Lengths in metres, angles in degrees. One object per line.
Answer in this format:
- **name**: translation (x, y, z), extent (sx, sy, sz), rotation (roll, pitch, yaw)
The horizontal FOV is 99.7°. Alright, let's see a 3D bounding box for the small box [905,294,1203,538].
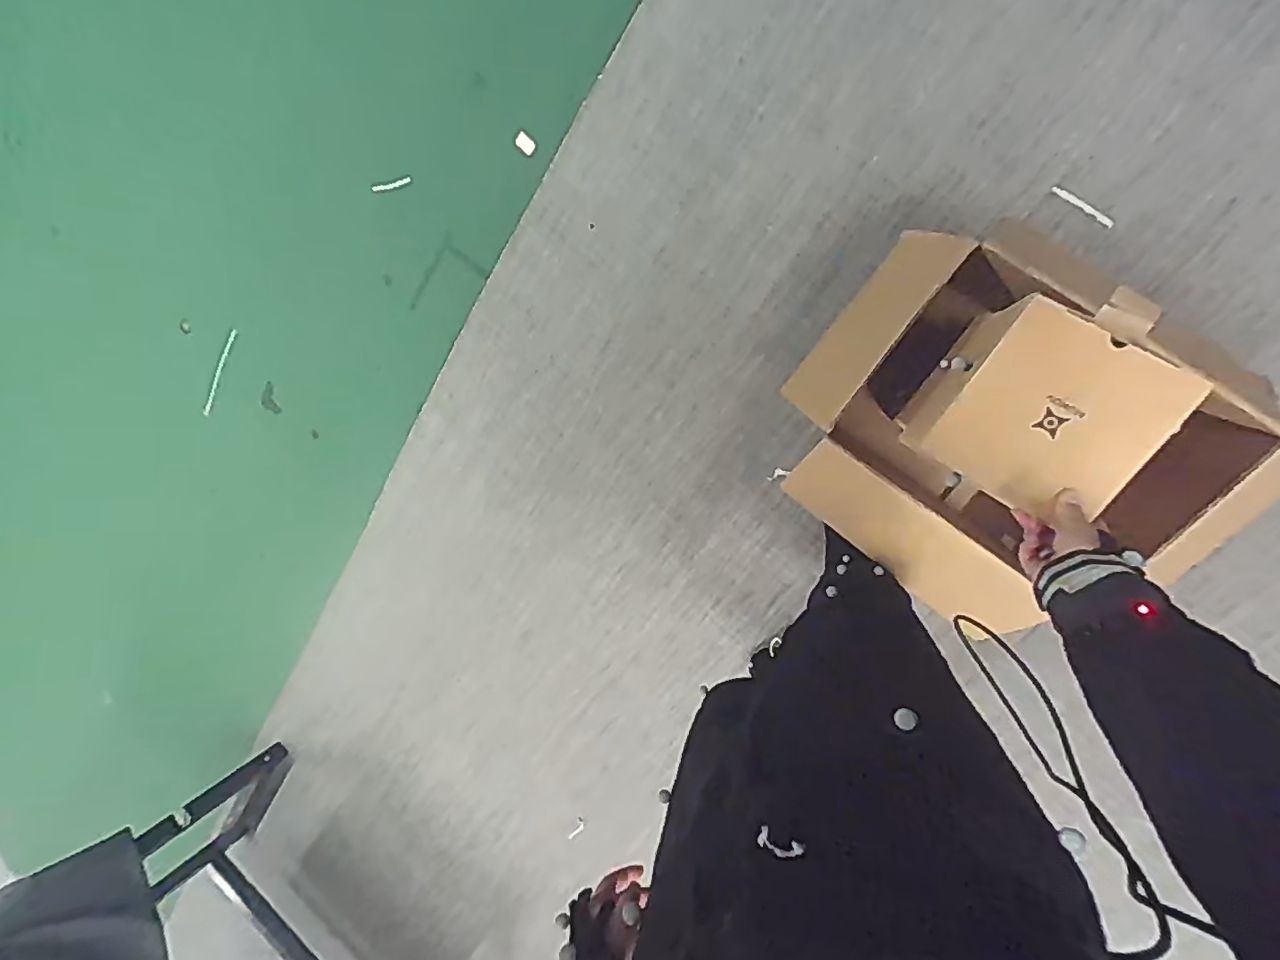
- **small box**: translation (0.410, -0.066, 0.582), extent (0.168, 0.176, 0.179), rotation (34, 105, 14)

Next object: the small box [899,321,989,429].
- **small box**: translation (0.478, -0.104, 0.734), extent (0.168, 0.176, 0.179), rotation (36, 111, 9)
